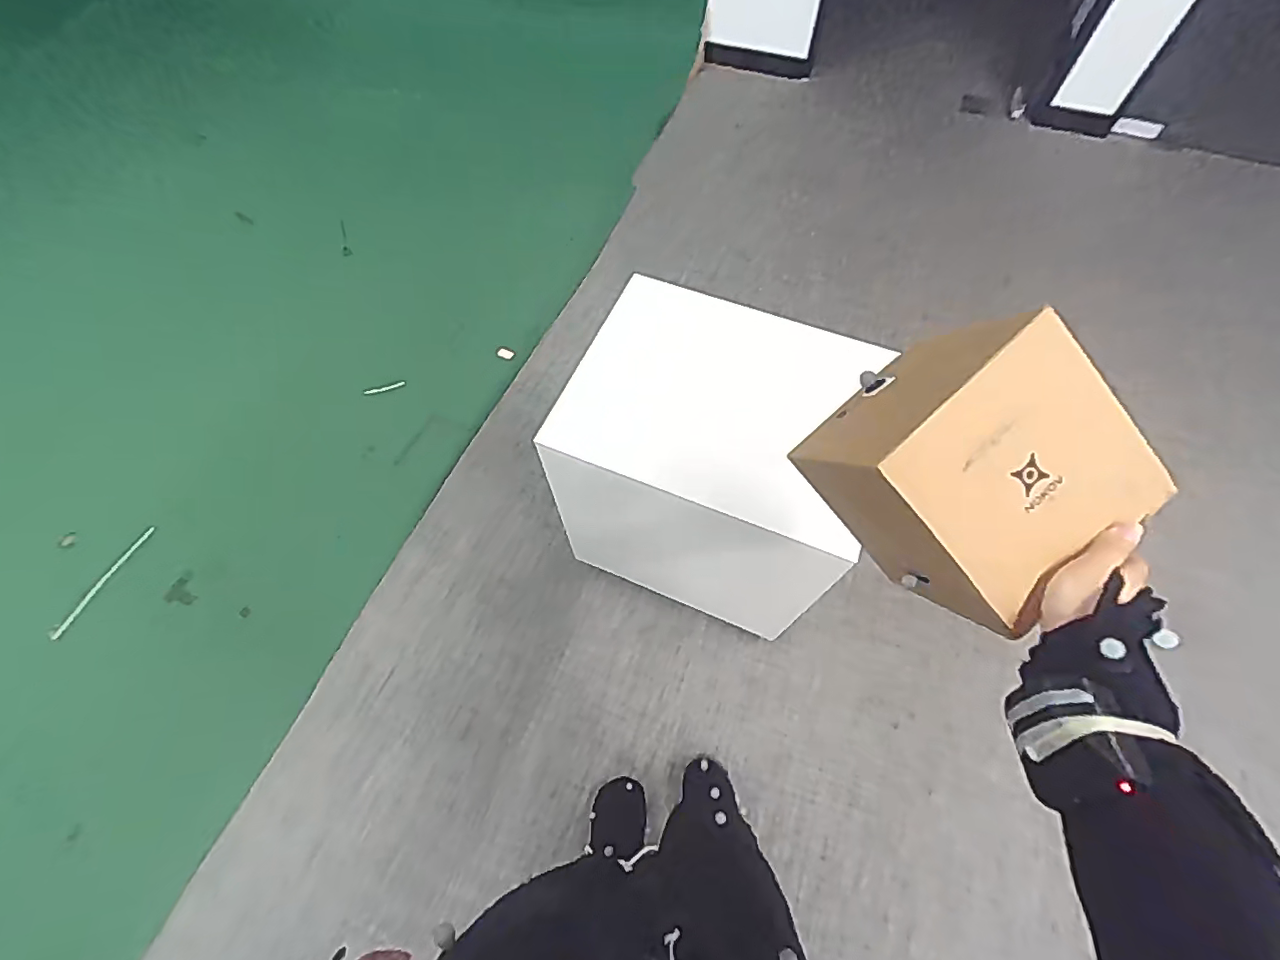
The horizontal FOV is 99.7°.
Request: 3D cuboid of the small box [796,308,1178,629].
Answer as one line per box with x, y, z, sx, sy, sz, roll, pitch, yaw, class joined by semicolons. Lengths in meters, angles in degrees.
0.271;-0.012;0.463;0.168;0.176;0.179;-43;96;-2;small box
